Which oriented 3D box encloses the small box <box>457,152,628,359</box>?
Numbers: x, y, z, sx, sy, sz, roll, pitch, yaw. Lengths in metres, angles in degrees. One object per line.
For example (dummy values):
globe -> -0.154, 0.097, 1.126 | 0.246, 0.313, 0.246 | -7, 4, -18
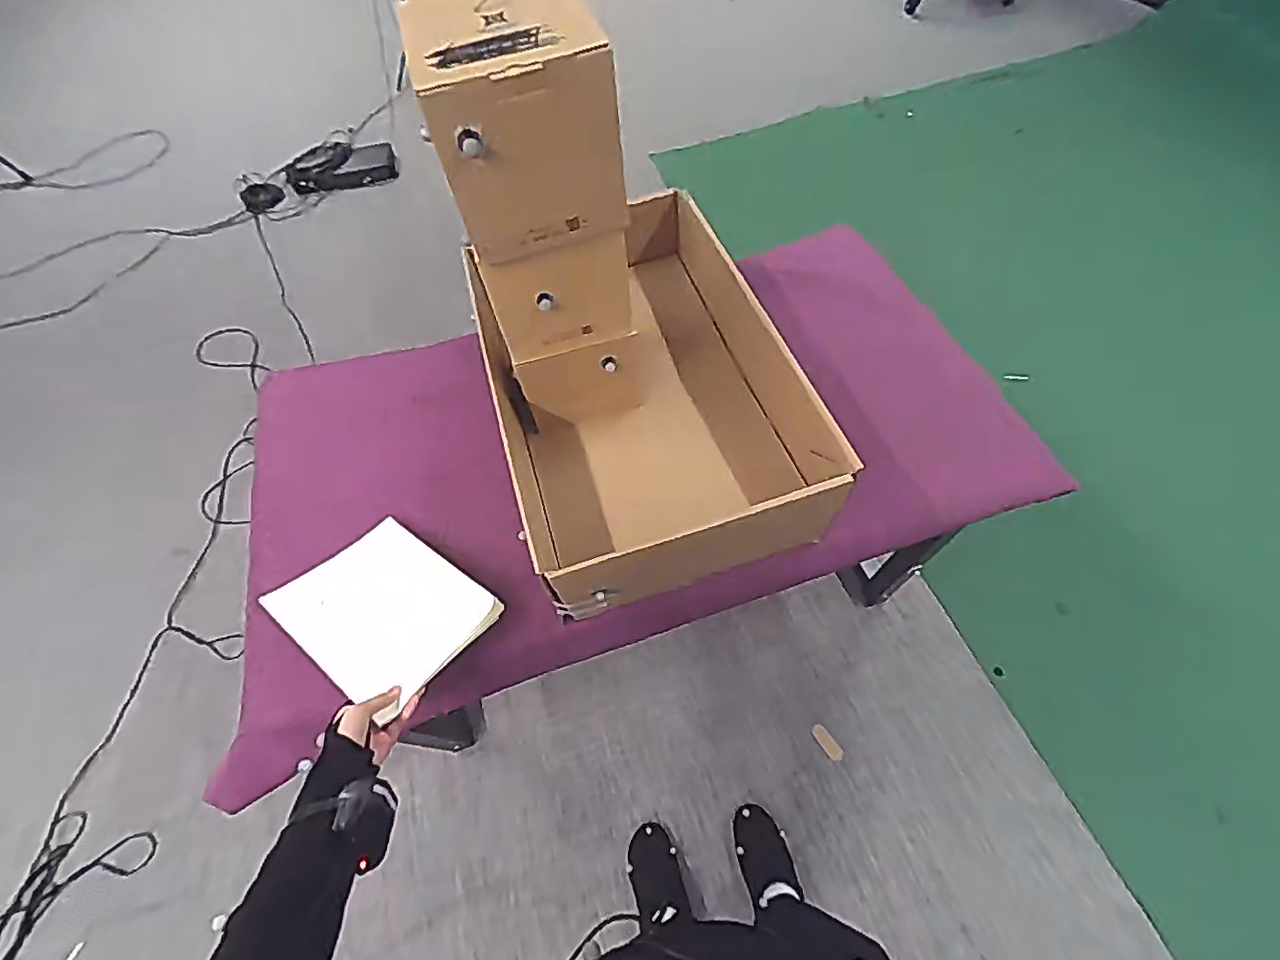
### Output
small box -> -0.118, -0.278, 0.698 | 0.168, 0.176, 0.179 | -16, 61, -5
